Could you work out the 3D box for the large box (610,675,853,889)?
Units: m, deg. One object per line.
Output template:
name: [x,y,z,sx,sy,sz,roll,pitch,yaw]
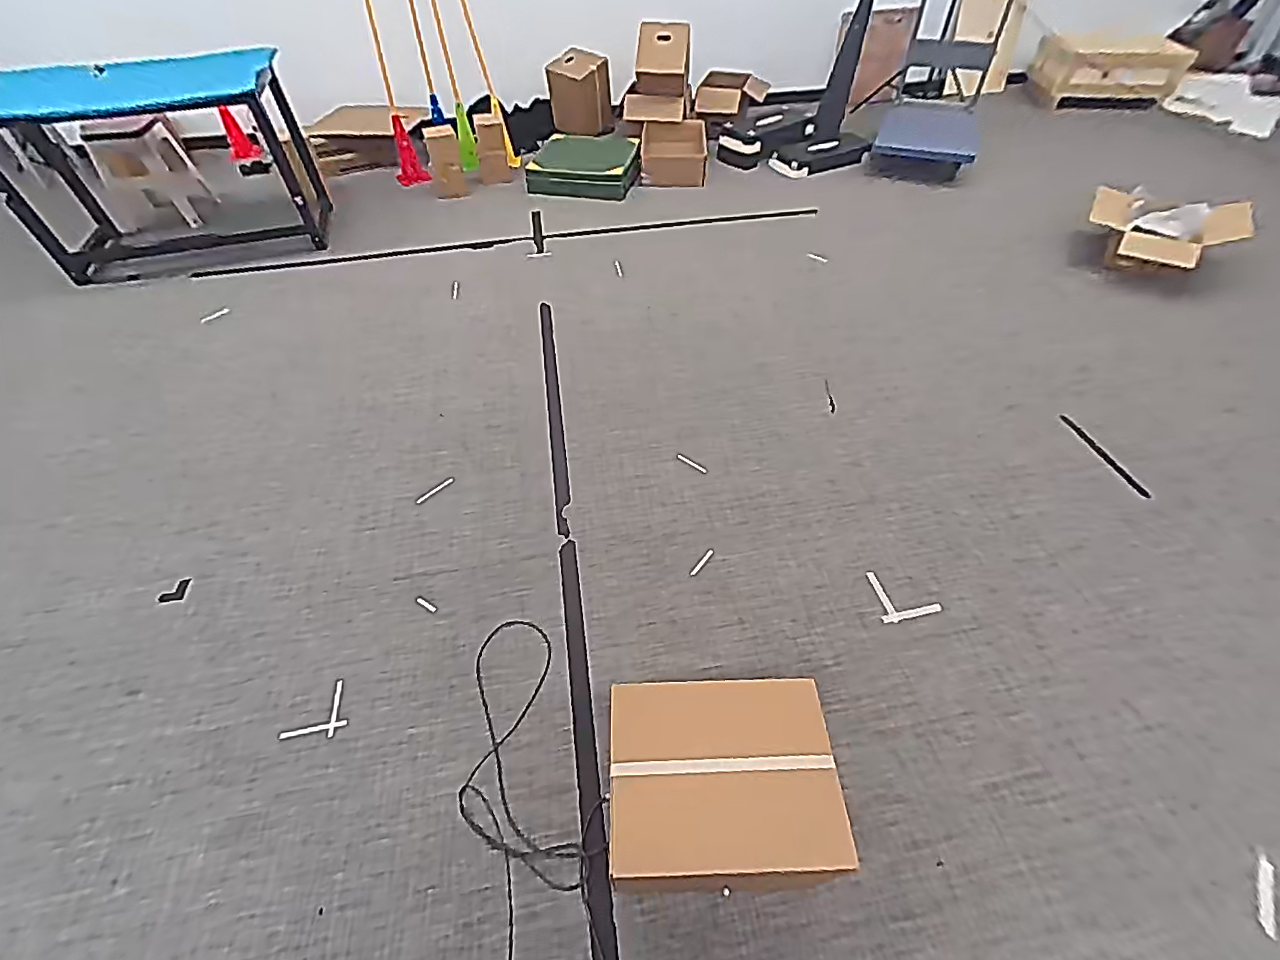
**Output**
large box: [0.147,0.611,1.090,0.408,0.320,0.320,-1,49,-1]
